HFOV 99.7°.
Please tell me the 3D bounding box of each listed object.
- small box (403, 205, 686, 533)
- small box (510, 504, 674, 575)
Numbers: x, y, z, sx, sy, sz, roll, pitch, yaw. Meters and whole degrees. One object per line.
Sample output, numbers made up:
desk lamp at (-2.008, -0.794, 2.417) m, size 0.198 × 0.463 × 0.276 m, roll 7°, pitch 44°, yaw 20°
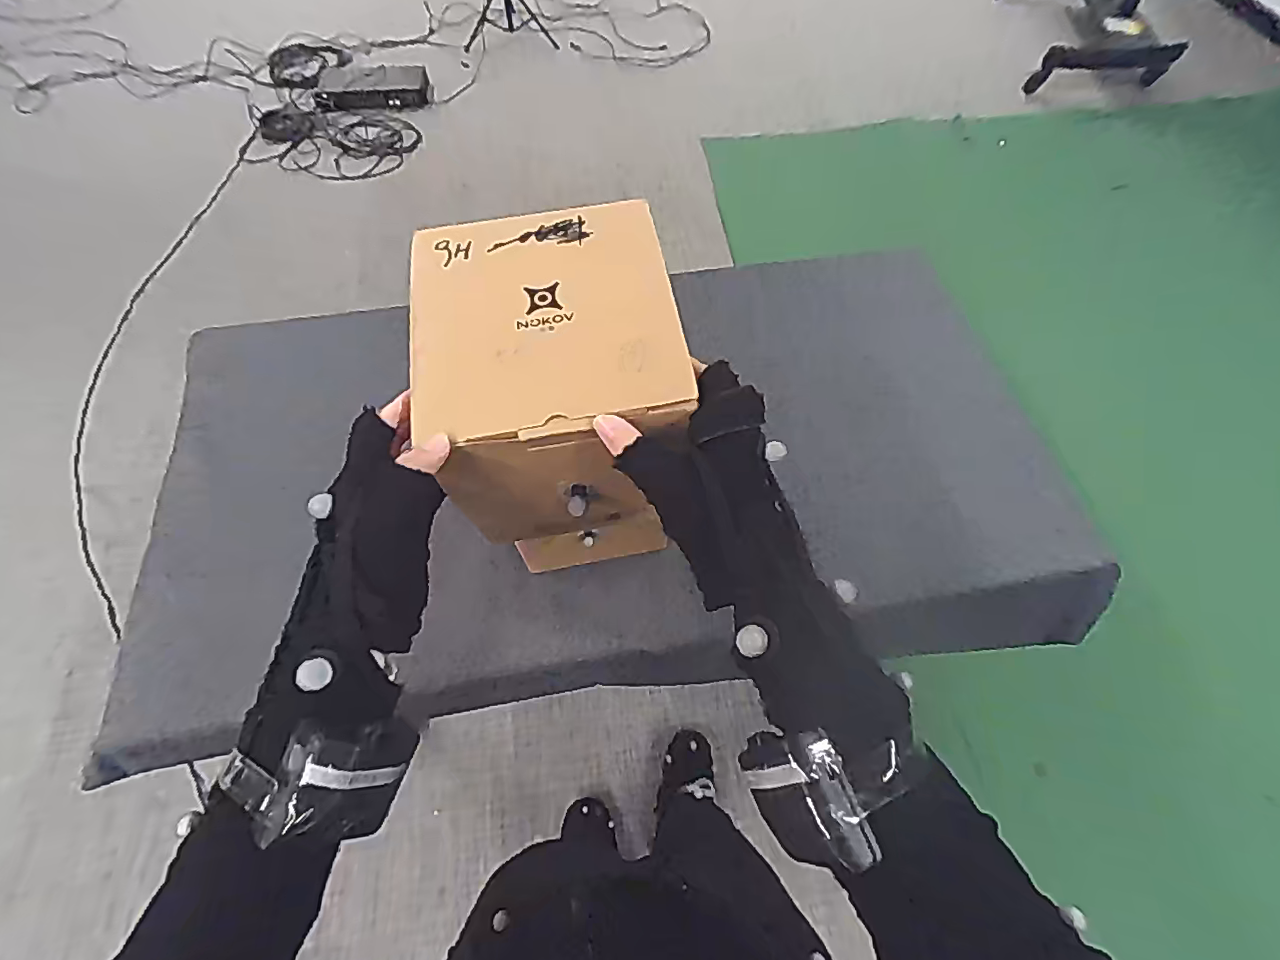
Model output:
small box at (-0.062, -0.068, 0.411) m, size 0.168 × 0.176 × 0.179 m, roll -9°, pitch 66°, yaw -3°
small box at (-0.069, -0.003, 0.645) m, size 0.179 × 0.176 × 0.168 m, roll -12°, pitch 63°, yaw -8°
